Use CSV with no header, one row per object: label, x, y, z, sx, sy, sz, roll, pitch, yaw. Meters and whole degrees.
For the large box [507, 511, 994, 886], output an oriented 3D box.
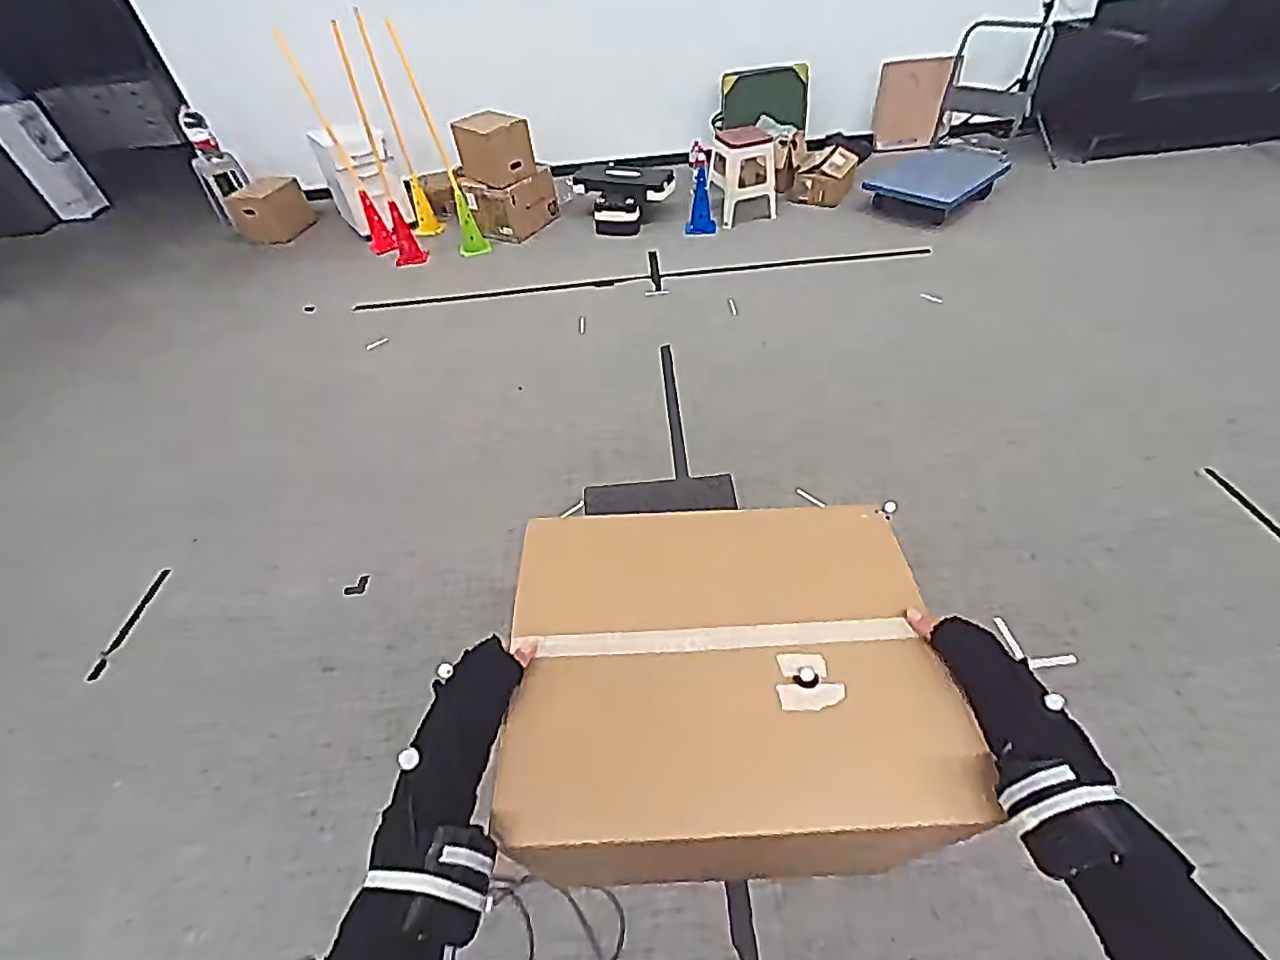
large box,0.084,0.260,0.640,0.408,0.320,0.320,-2,48,-1
